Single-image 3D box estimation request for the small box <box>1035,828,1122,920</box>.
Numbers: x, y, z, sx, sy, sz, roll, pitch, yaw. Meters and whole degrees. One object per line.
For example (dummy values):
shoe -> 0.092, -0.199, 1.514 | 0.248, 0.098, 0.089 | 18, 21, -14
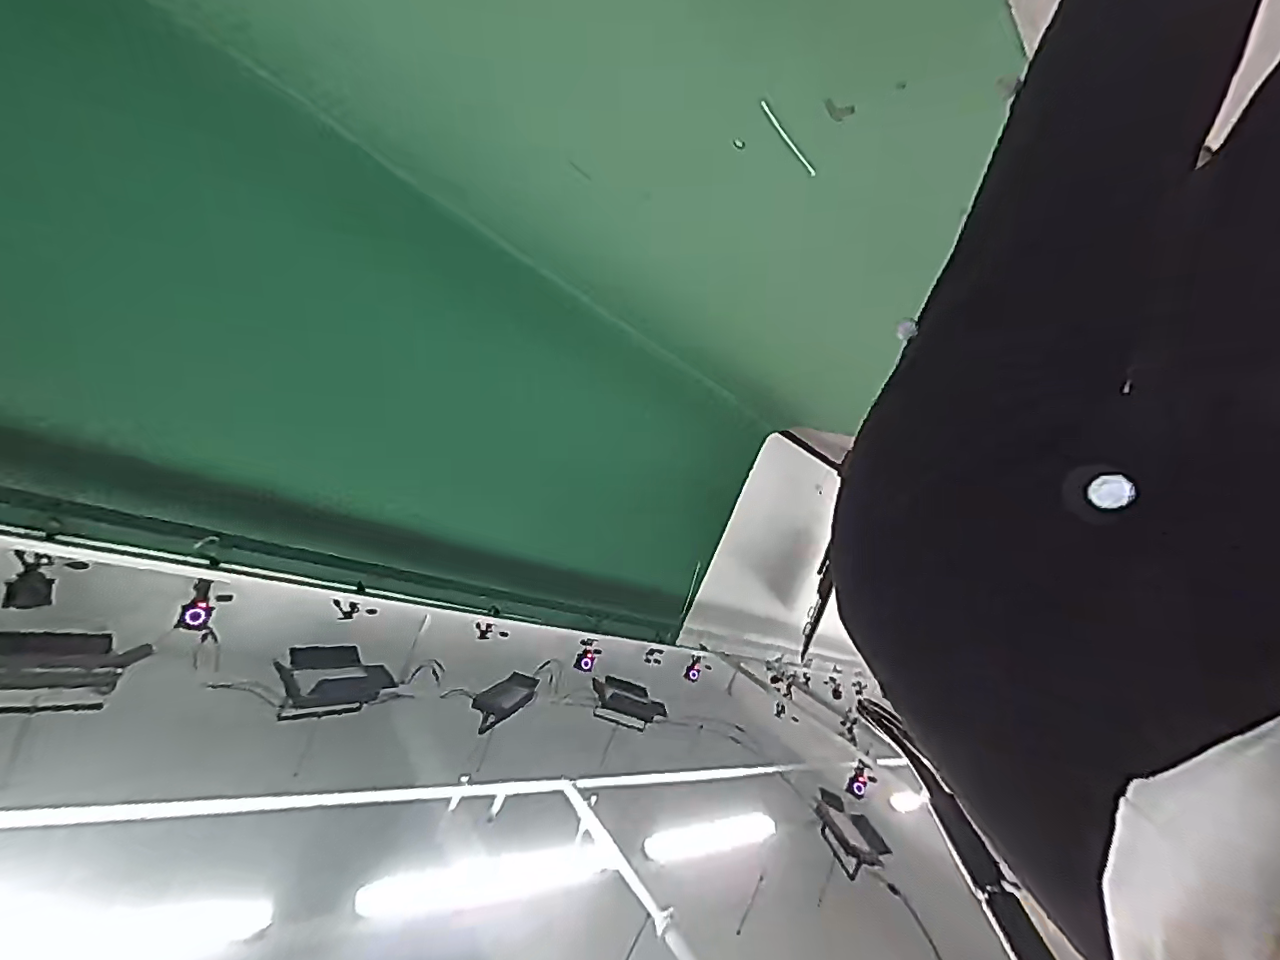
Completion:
small box -> 1.381, 1.220, 1.702 | 0.179, 0.176, 0.168 | 23, -179, -43
